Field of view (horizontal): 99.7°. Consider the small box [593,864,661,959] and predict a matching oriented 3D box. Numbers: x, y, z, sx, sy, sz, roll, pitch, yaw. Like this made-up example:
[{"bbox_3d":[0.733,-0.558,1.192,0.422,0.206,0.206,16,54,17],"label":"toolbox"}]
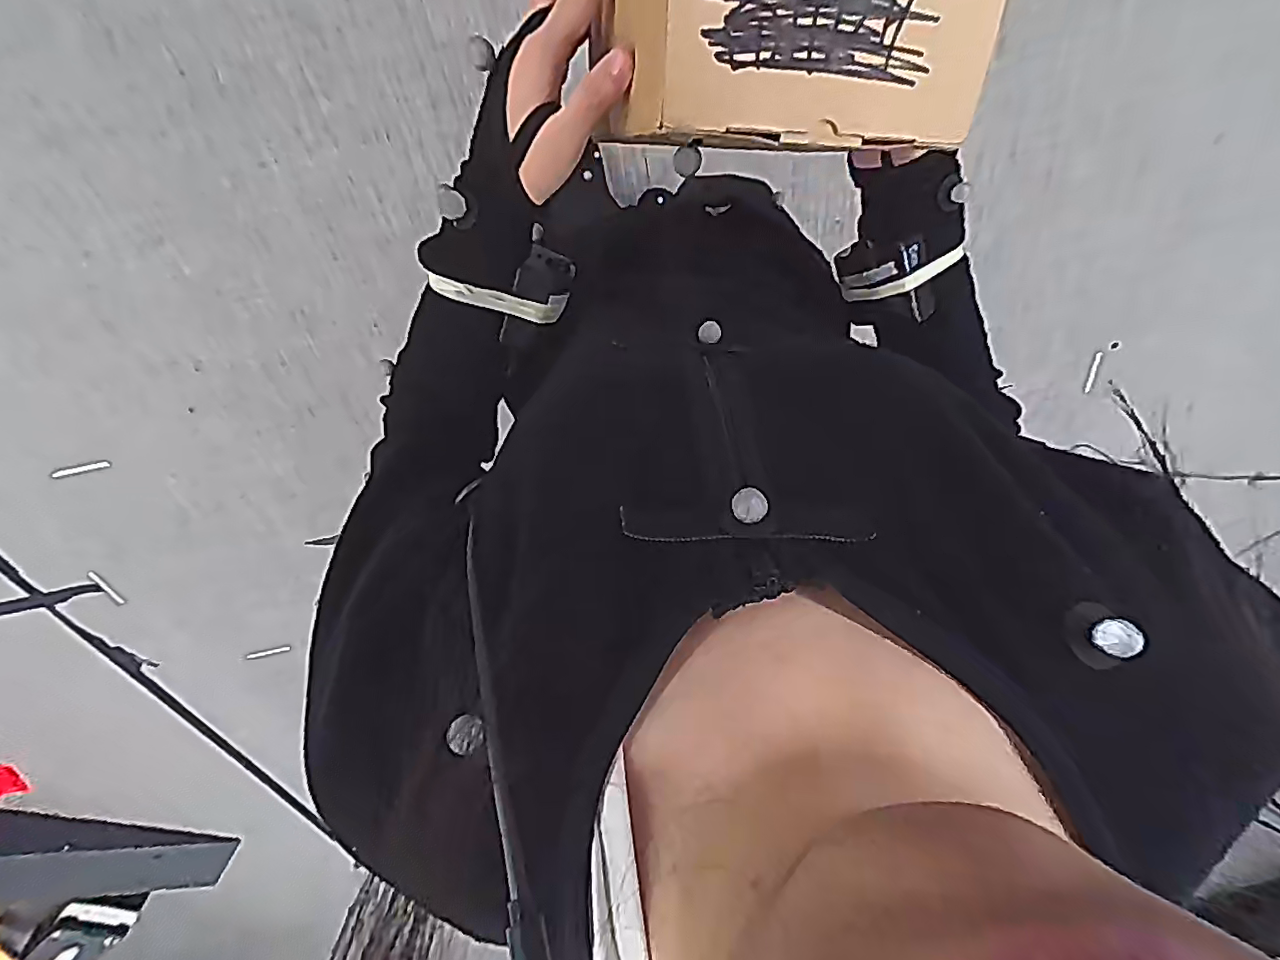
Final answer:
[{"bbox_3d":[-0.037,1.220,1.525,0.168,0.176,0.179,-9,125,-4],"label":"small box"}]
